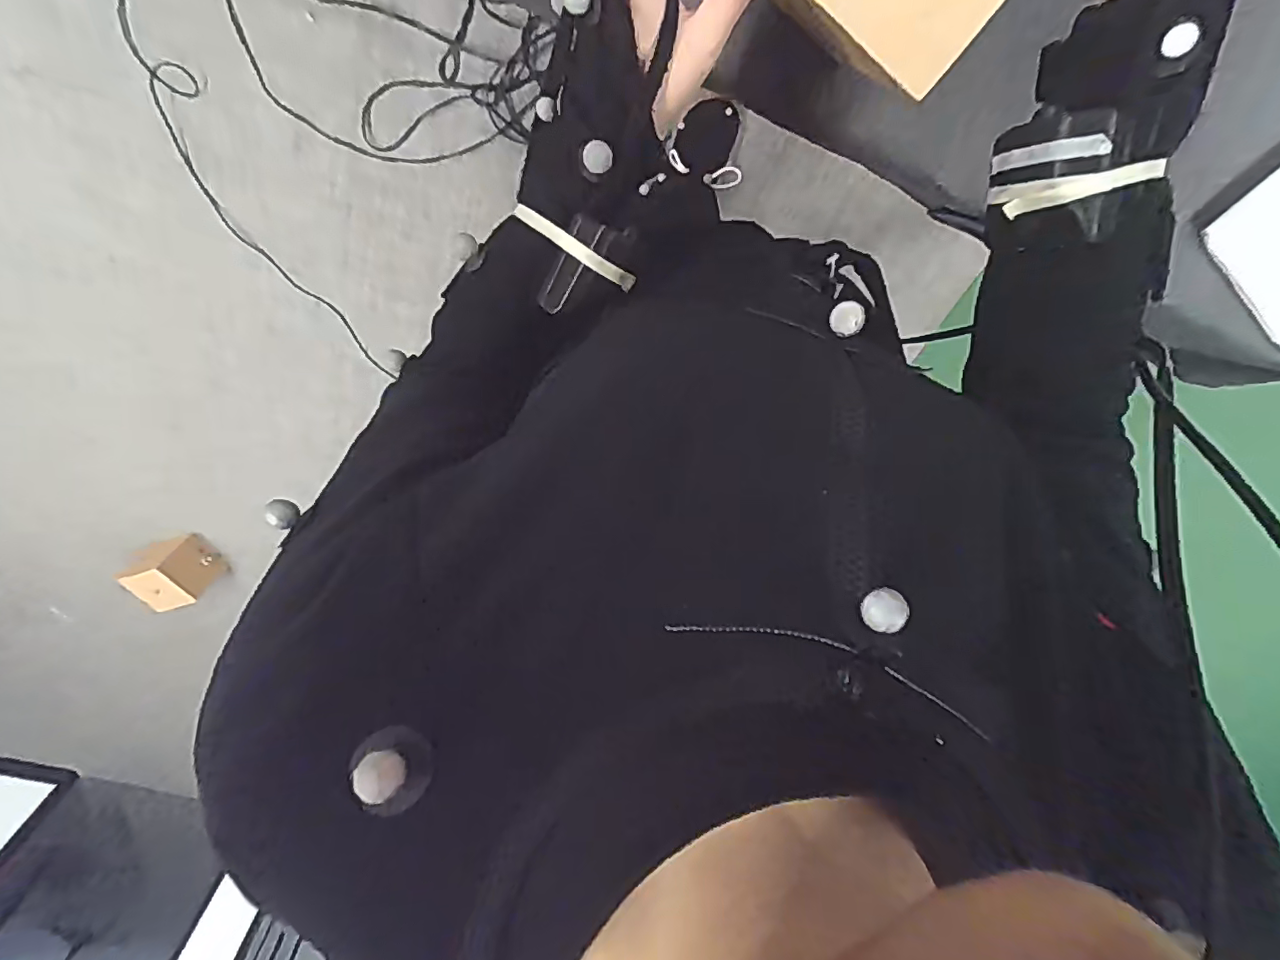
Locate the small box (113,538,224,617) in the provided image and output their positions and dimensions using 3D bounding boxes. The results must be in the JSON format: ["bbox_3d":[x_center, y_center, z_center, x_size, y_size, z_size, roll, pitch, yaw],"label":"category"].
[{"bbox_3d":[-1.531,0.318,1.769,0.179,0.176,0.168,-17,124,14],"label":"small box"}]
